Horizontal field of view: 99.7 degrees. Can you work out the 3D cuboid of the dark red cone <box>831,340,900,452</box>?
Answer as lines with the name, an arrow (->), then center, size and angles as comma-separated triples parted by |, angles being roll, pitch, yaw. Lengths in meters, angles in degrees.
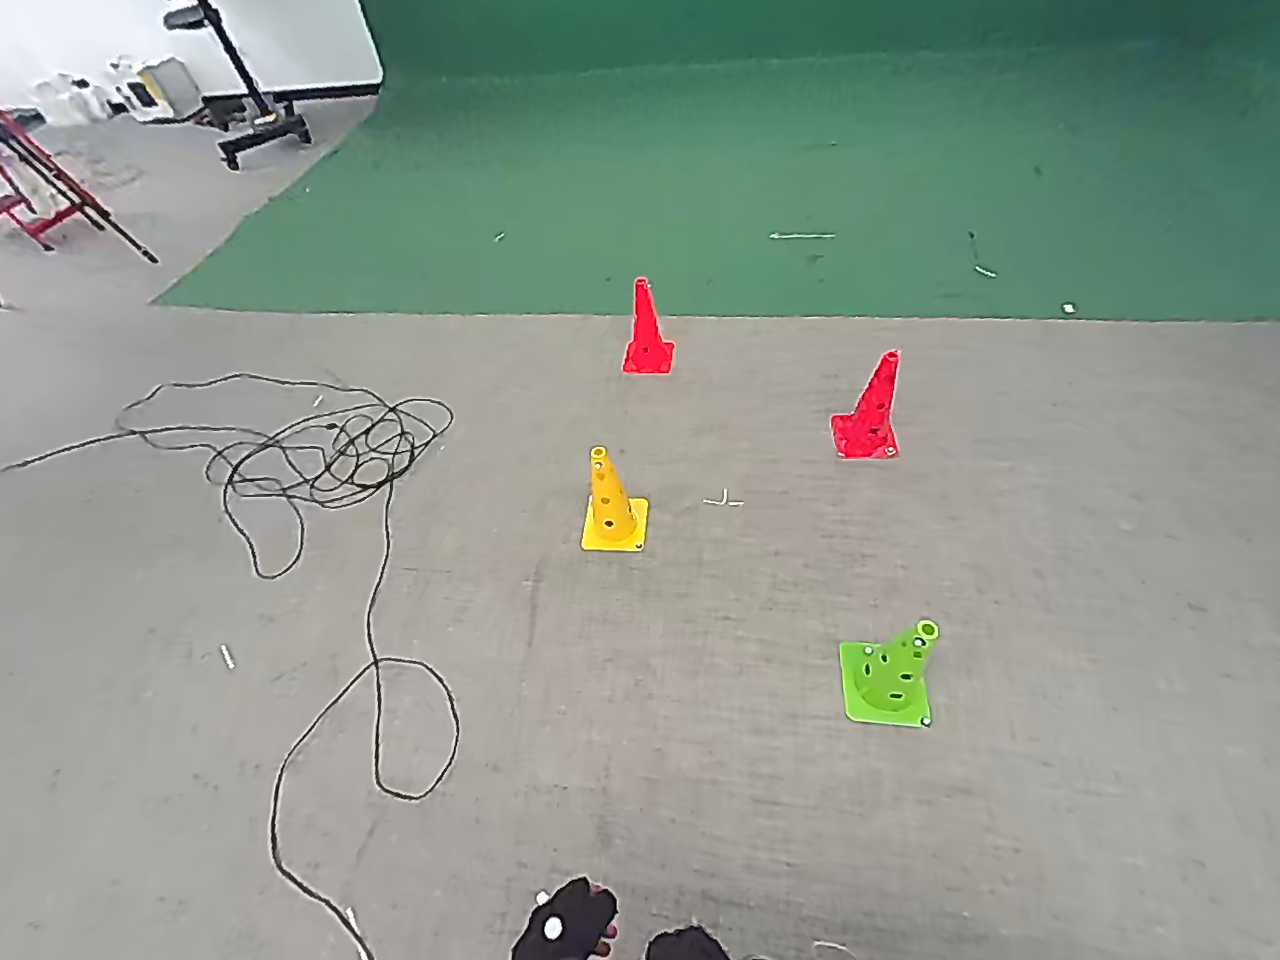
dark red cone -> 0.751, -0.276, 1.723 | 0.202, 0.394, 0.201 | -1, 51, 6

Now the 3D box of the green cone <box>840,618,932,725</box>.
green cone -> 0.602, 0.406, 1.242 | 0.202, 0.368, 0.200 | 1, 52, 9

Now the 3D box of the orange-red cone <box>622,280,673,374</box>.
orange-red cone -> 0.013, -0.608, 2.102 | 0.198, 0.360, 0.199 | 3, 54, 10
